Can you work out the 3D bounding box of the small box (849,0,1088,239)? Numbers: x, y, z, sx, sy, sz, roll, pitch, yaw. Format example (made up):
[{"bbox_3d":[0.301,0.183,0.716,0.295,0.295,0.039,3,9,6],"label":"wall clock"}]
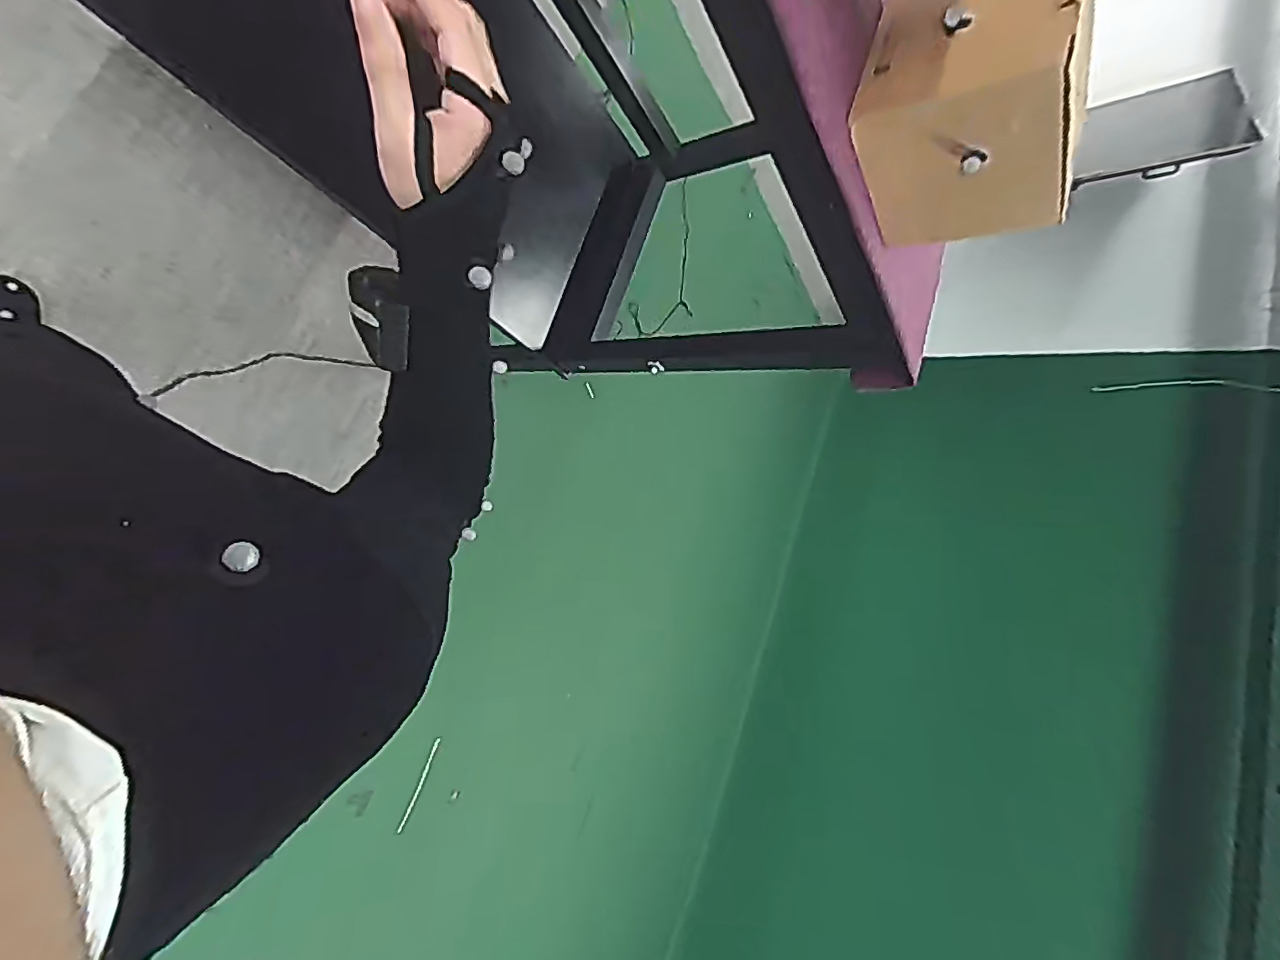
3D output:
[{"bbox_3d":[0.327,-0.369,0.539,0.179,0.176,0.168,33,72,-47],"label":"small box"}]
